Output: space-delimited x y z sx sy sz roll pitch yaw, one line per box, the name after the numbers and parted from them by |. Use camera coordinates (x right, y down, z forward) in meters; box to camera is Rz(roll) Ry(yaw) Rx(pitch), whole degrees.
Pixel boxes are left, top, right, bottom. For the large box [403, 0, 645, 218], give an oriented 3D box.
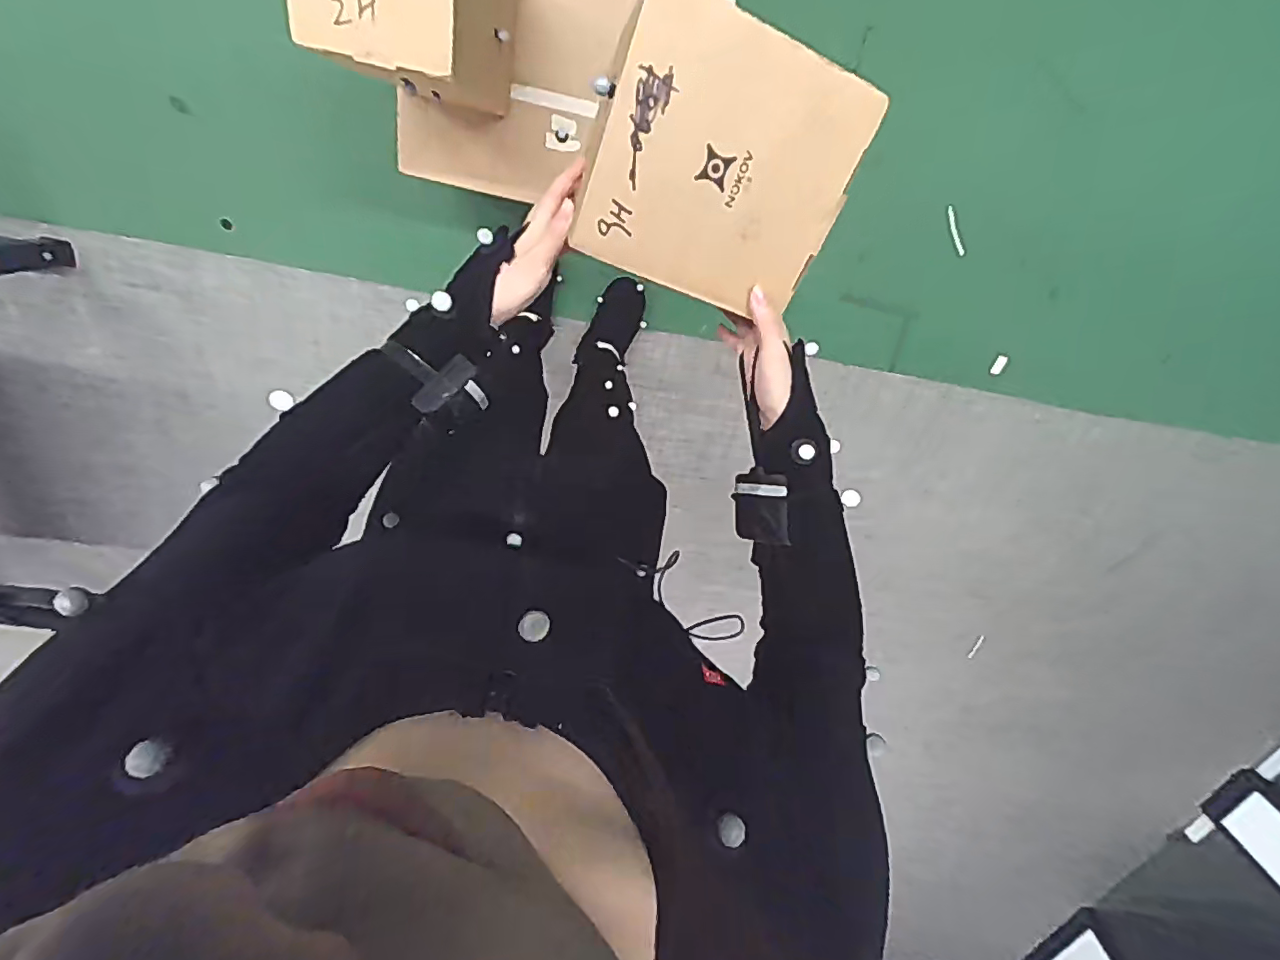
-0.179 -0.673 0.991 0.408 0.320 0.320 10 118 -7 | large box

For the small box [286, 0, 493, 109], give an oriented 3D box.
-0.265 -0.541 0.598 0.168 0.176 0.179 10 117 -6 | small box

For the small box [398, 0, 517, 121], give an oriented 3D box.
-0.269 -0.621 0.742 0.168 0.176 0.179 10 117 -7 | small box

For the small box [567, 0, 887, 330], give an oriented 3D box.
0.048 -0.247 0.438 0.179 0.176 0.168 16 116 -17 | small box
